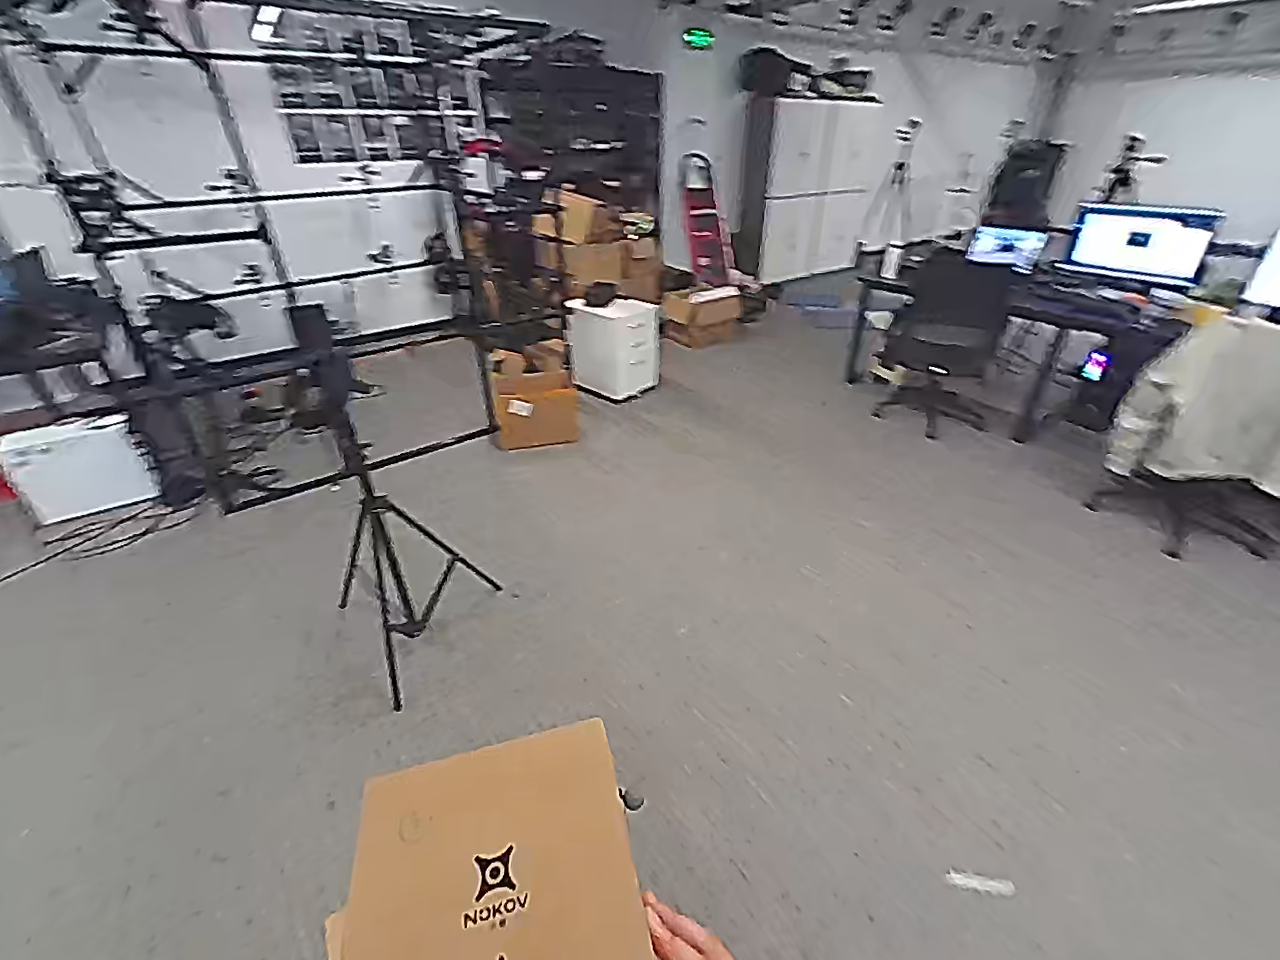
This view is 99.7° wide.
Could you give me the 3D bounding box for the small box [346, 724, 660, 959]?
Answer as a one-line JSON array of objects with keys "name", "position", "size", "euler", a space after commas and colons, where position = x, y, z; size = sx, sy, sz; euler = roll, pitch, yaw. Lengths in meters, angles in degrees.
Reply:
[{"name": "small box", "position": [-0.077, 0.301, 0.357], "size": [0.168, 0.176, 0.179], "euler": [-11, 39, -9]}]
